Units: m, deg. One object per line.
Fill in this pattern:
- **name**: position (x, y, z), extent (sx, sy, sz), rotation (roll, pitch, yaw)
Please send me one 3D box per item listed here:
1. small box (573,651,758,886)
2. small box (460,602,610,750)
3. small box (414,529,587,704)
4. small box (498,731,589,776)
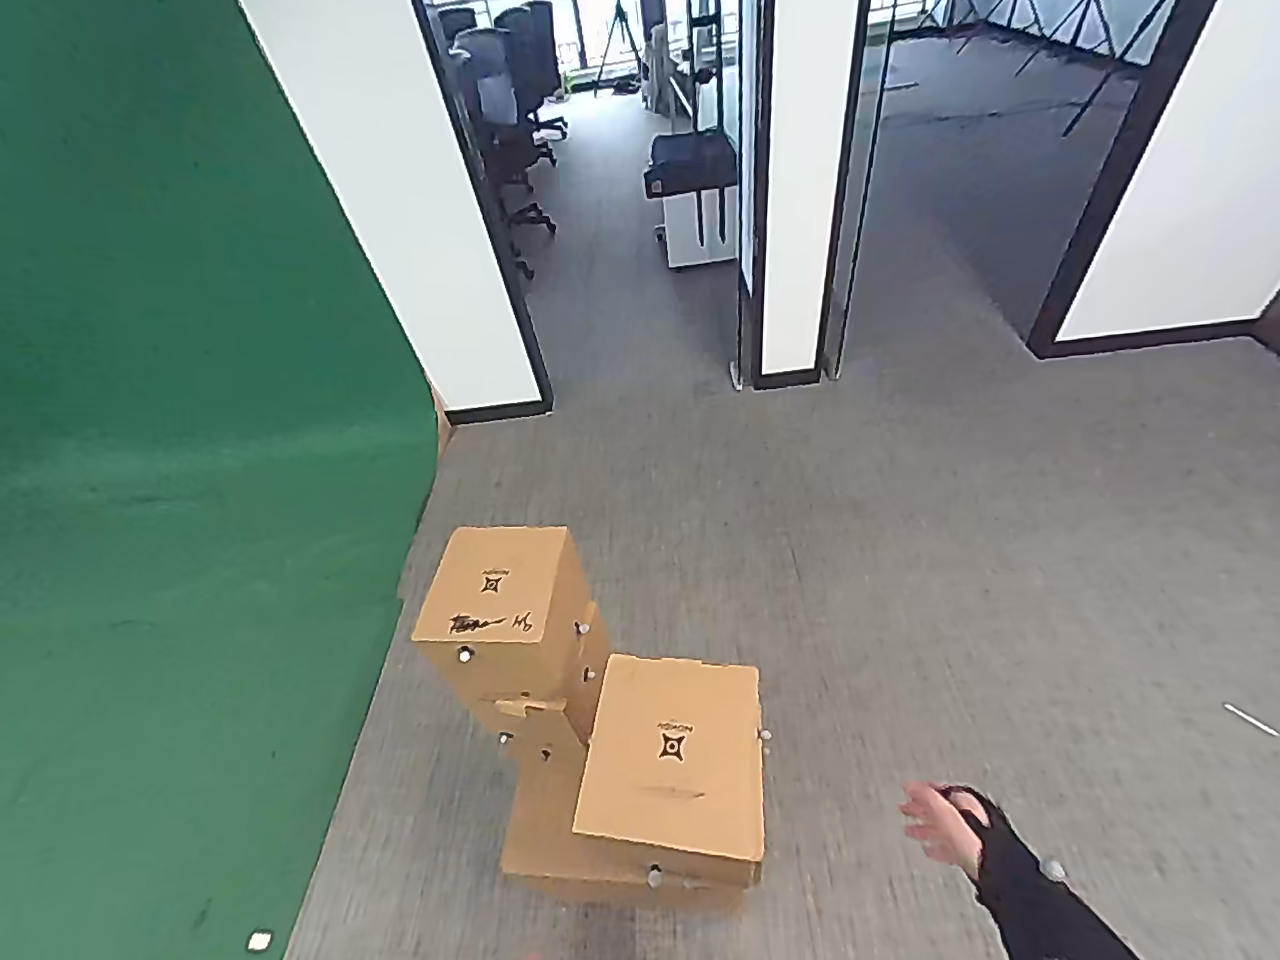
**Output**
- **small box**: position (0.040, 0.314, 0.592), extent (0.168, 0.176, 0.179), rotation (2, 47, 12)
- **small box**: position (-0.151, 0.306, 0.863), extent (0.168, 0.176, 0.179), rotation (4, 46, 14)
- **small box**: position (-0.176, 0.187, 0.752), extent (0.168, 0.176, 0.179), rotation (-2, 45, 9)
- **small box**: position (-0.126, 0.422, 0.978), extent (0.179, 0.176, 0.168), rotation (3, 47, 12)
